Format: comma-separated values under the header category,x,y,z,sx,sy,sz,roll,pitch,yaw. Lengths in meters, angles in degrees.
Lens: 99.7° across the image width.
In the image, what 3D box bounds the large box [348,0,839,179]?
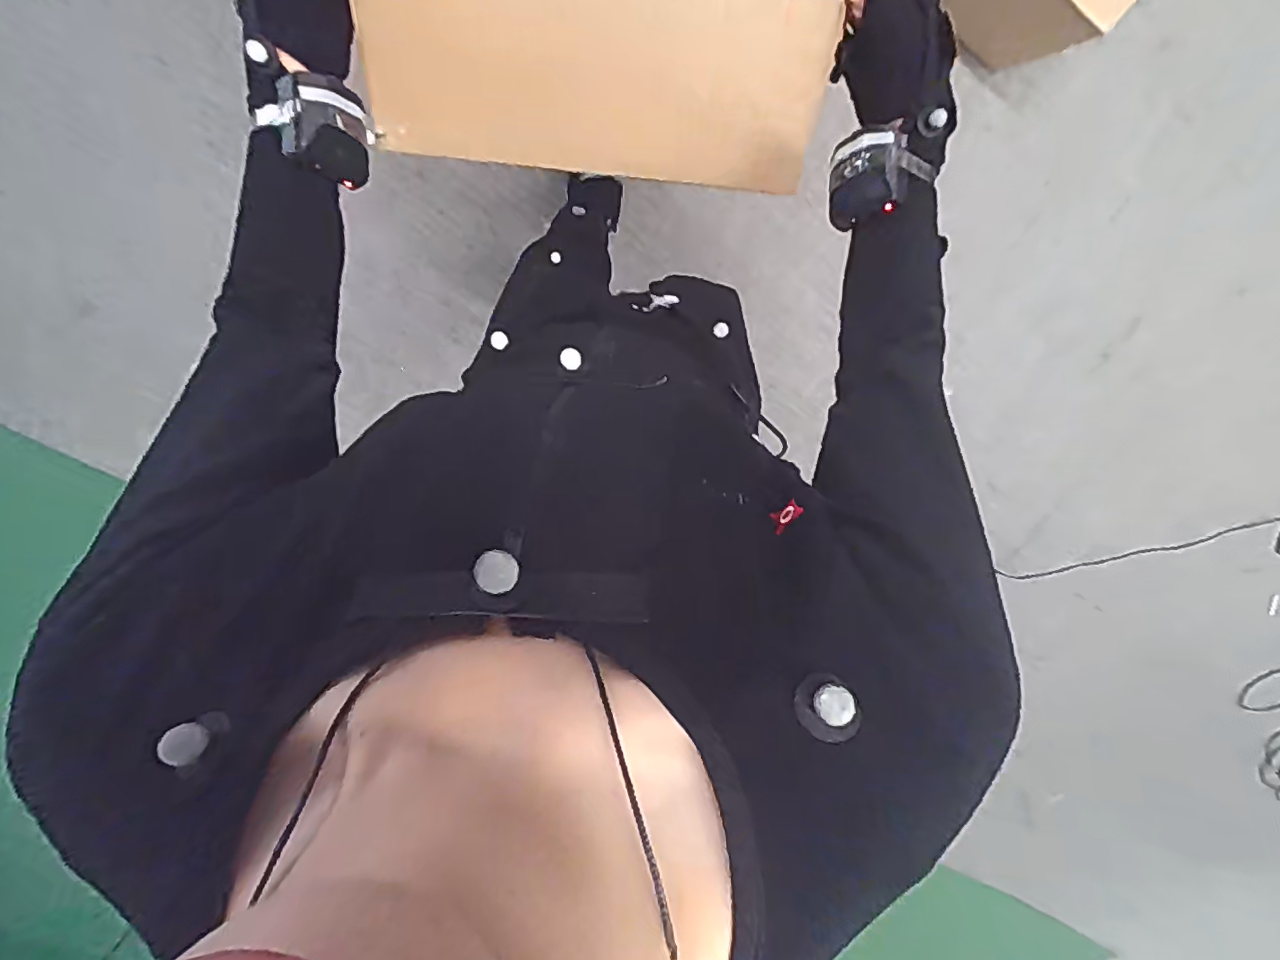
category,x,y,z,sx,sy,sz,roll,pitch,yaw
large box,-0.031,-0.519,0.518,0.408,0.320,0.320,4,133,-4
